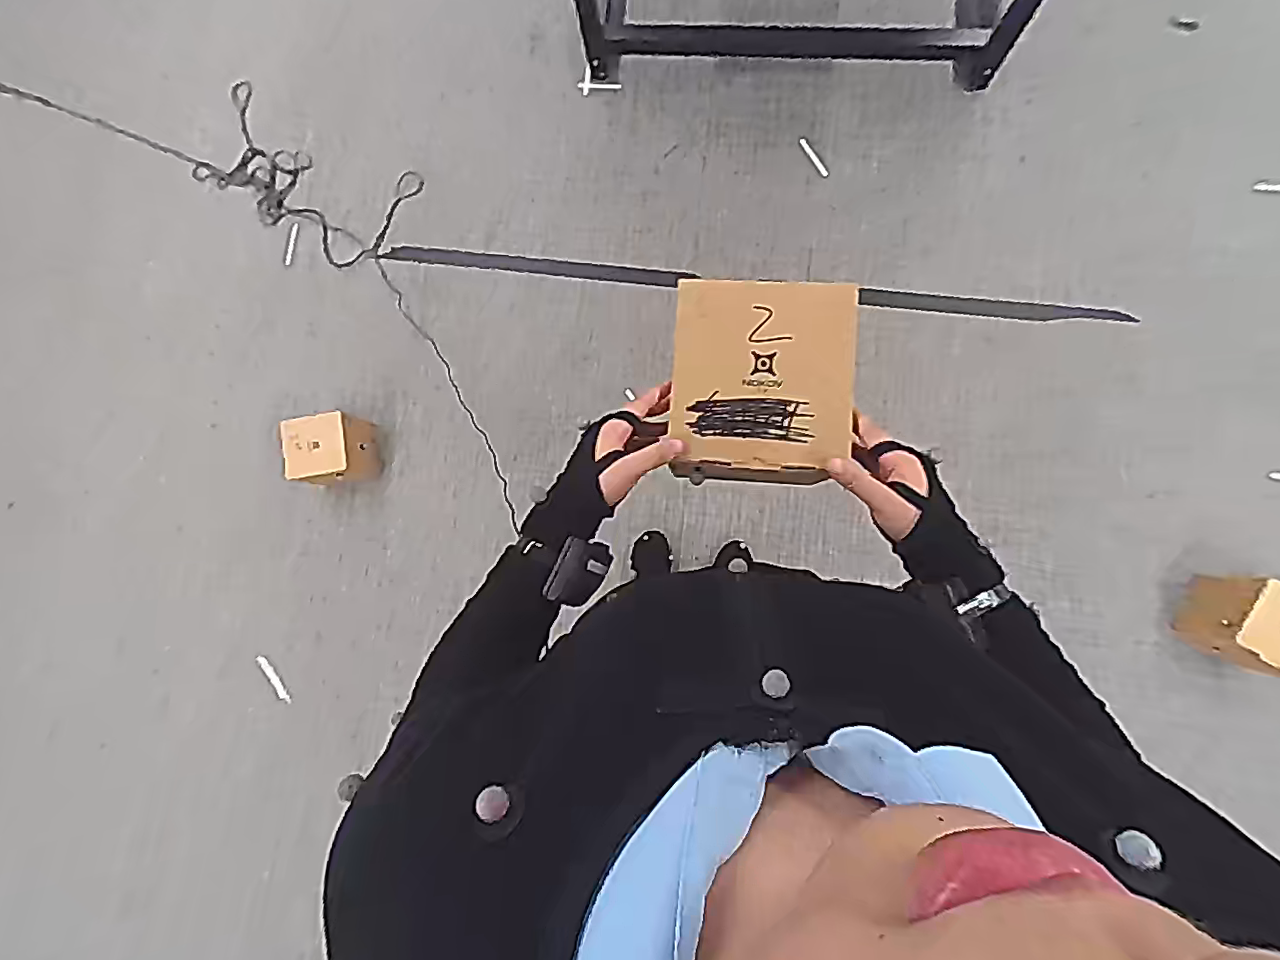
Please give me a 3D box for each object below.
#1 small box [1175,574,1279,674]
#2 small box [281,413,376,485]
[{"bbox_3d":[1.469,0.342,1.305,0.168,0.176,0.179,31,87,7],"label":"small box"},{"bbox_3d":[-0.870,-0.083,1.531,0.179,0.176,0.168,-10,83,4],"label":"small box"}]
